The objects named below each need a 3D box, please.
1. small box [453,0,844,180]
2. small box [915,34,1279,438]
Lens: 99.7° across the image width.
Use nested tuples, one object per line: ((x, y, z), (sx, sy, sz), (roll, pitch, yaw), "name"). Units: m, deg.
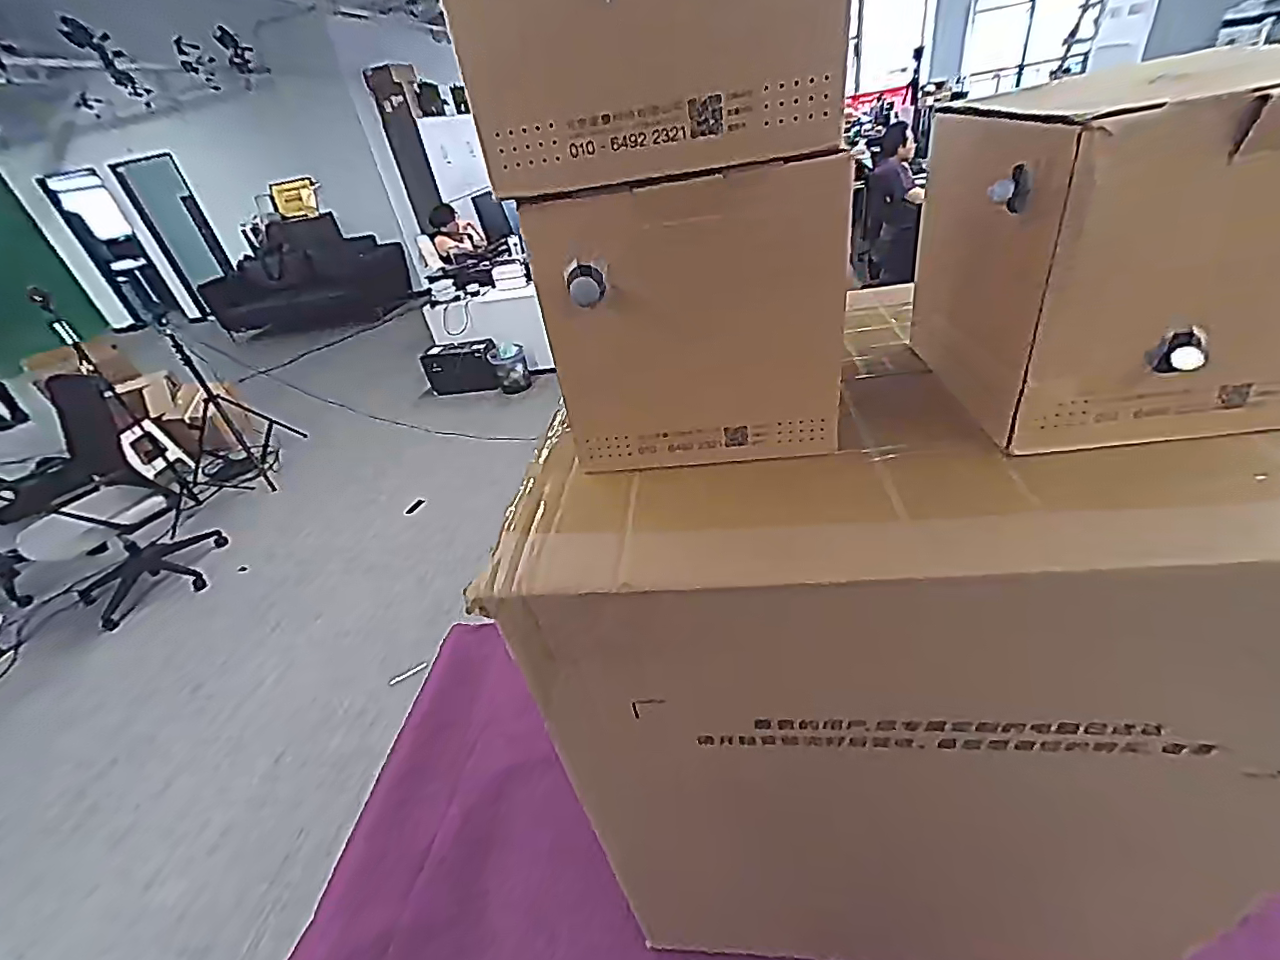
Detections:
((0.003, -0.261, 0.275), (0.168, 0.176, 0.179), (-5, 34, 6), "small box")
((0.282, -0.143, 0.321), (0.168, 0.176, 0.179), (-6, 35, 9), "small box")
